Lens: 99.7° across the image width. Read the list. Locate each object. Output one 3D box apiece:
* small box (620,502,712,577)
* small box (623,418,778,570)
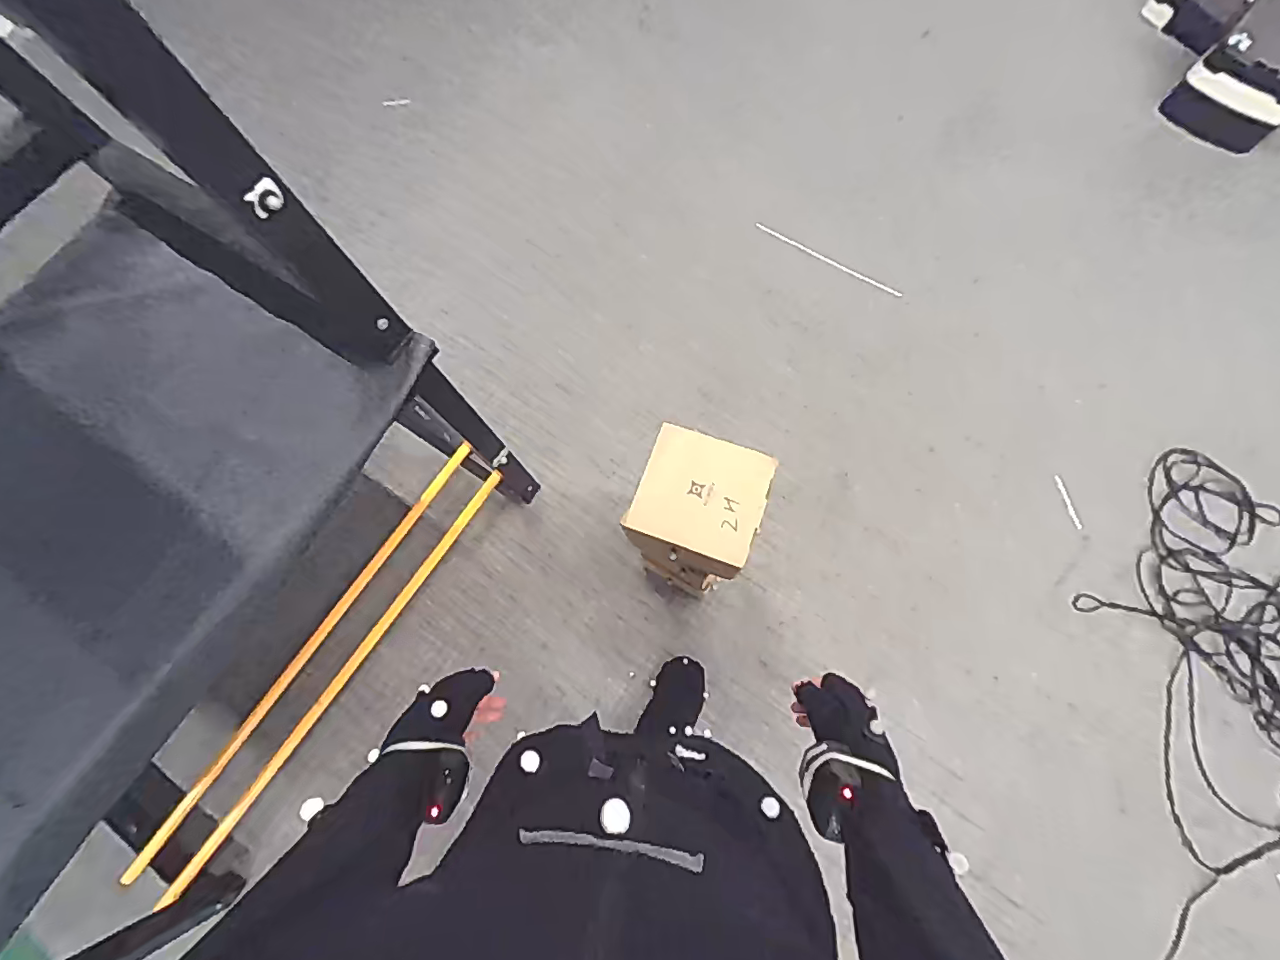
[{"bbox_3d":[0.086,0.064,0.985,0.179,0.176,0.168,32,80,12],"label":"small box"},{"bbox_3d":[0.089,0.031,0.825,0.179,0.176,0.168,19,78,9],"label":"small box"}]
